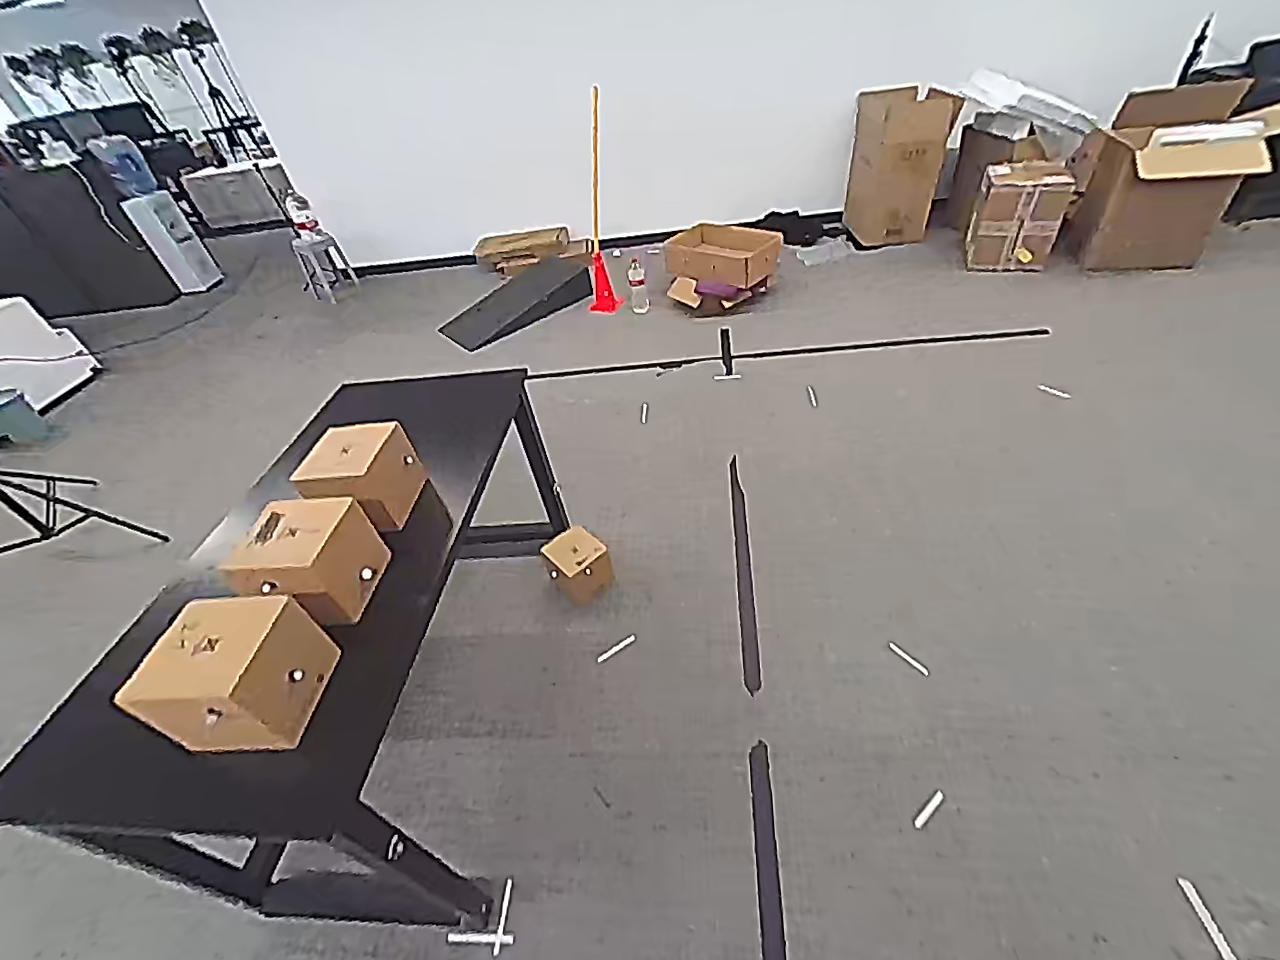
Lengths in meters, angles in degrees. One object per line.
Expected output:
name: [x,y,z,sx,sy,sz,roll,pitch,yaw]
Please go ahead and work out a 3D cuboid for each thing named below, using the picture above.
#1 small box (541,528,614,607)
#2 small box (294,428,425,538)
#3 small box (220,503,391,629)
small box: [-0.211,0.305,1.868,0.168,0.176,0.179,-36,48,-26]
small box: [-0.594,0.009,1.176,0.168,0.176,0.179,-5,43,8]
small box: [-0.603,0.162,1.002,0.179,0.176,0.168,-3,42,7]
